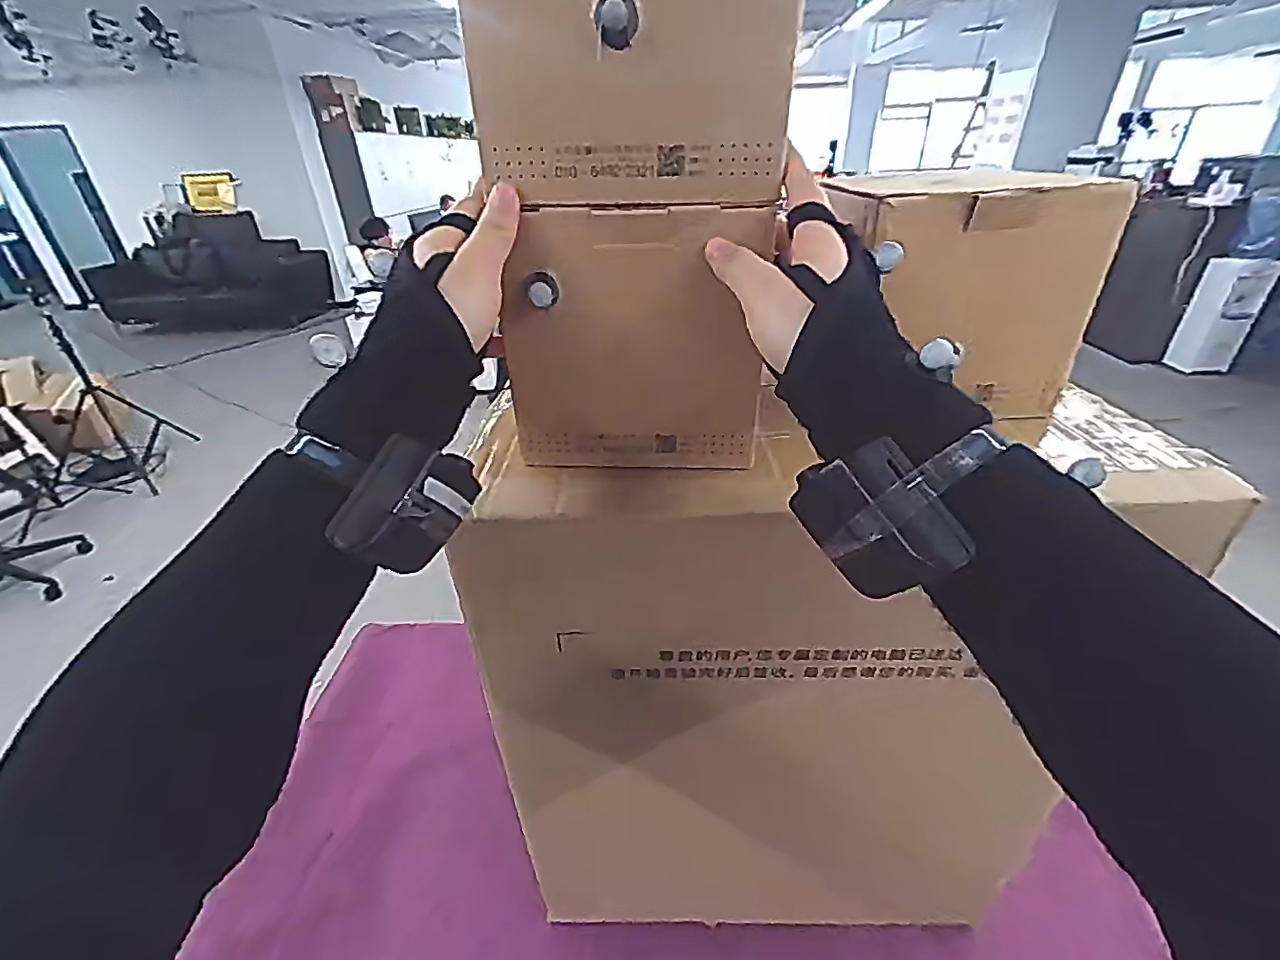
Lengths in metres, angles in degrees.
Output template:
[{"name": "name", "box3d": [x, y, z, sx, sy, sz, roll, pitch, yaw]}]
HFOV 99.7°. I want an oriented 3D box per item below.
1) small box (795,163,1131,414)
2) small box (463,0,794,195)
[{"name": "small box", "box3d": [0.238, -0.167, 0.460, 0.168, 0.176, 0.179, -4, 32, 1]}, {"name": "small box", "box3d": [-0.002, -0.271, 0.329, 0.168, 0.176, 0.179, 1, 30, 2]}]
